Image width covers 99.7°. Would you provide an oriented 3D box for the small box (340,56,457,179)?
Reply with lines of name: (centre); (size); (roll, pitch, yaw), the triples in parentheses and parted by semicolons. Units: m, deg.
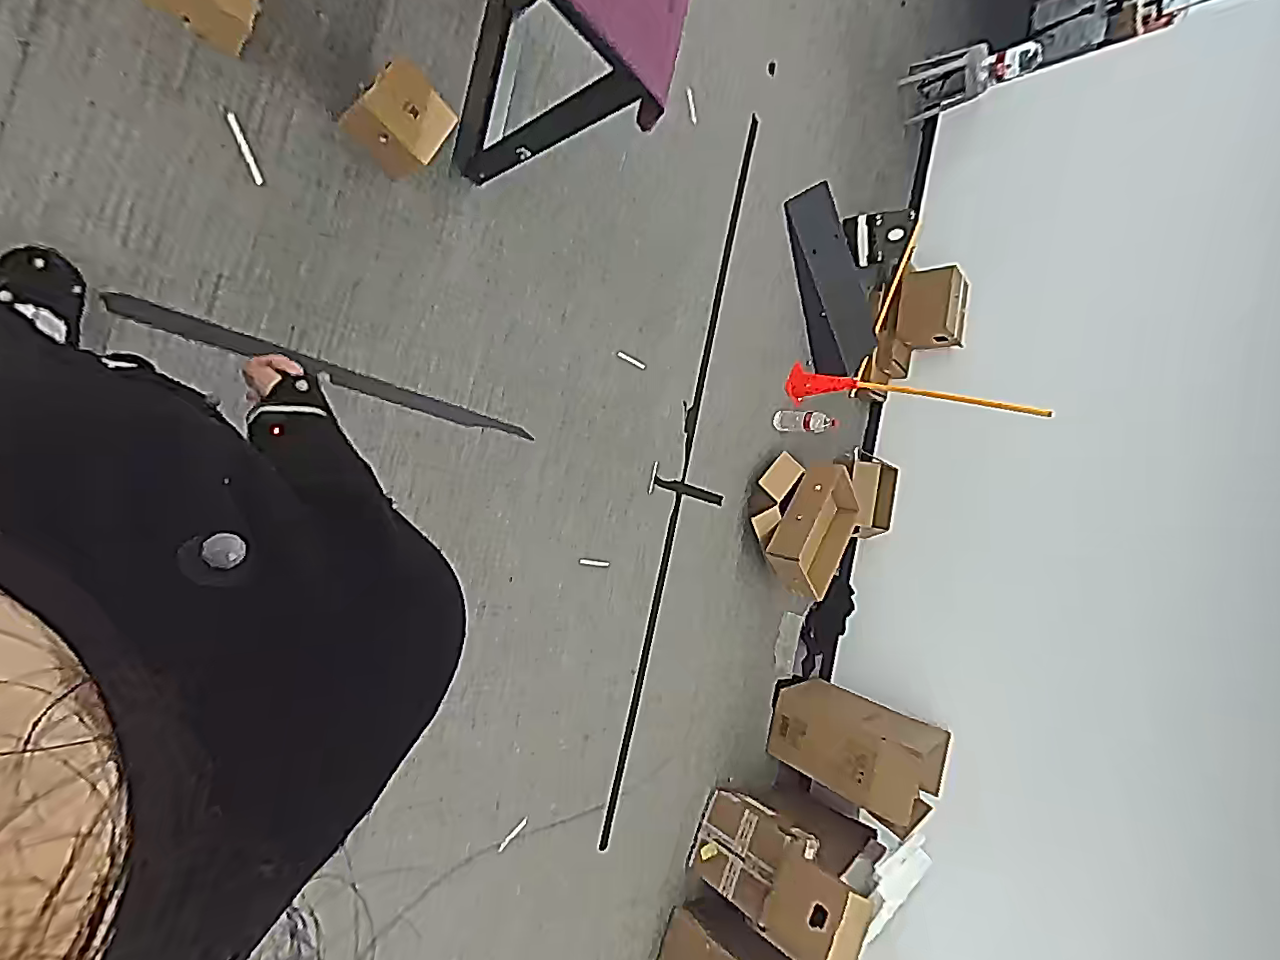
small box: (-0.595, -0.878, 1.333); (0.179, 0.176, 0.168); (39, 69, -41)
